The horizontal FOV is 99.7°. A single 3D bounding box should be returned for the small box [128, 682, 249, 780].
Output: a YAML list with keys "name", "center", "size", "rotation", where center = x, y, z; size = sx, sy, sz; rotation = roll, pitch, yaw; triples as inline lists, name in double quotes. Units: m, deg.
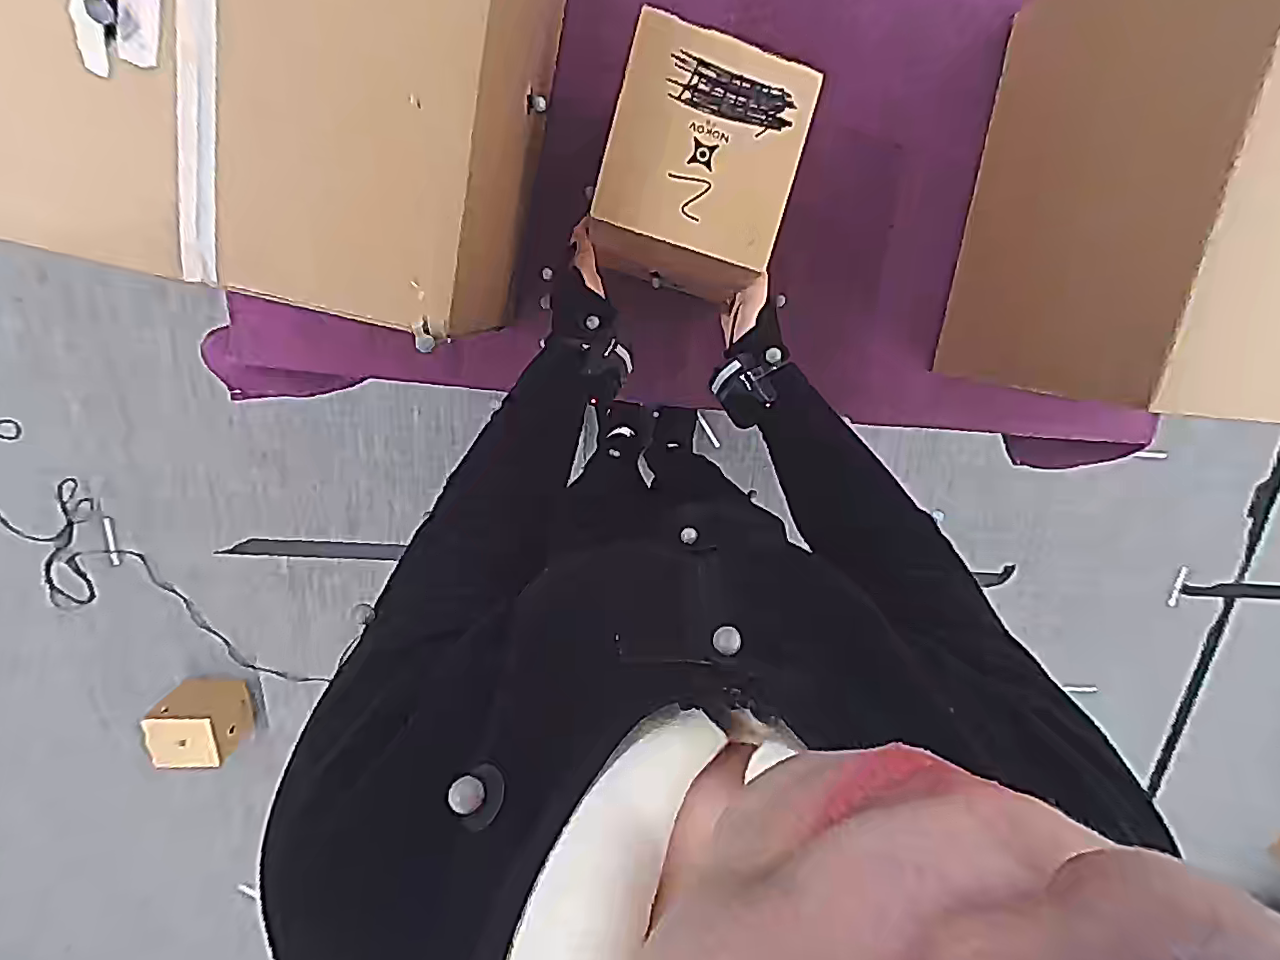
- name: "small box"
  center: [-1.256, 0.699, 1.504]
  size: [0.168, 0.176, 0.179]
  rotation: [7, 126, 14]
